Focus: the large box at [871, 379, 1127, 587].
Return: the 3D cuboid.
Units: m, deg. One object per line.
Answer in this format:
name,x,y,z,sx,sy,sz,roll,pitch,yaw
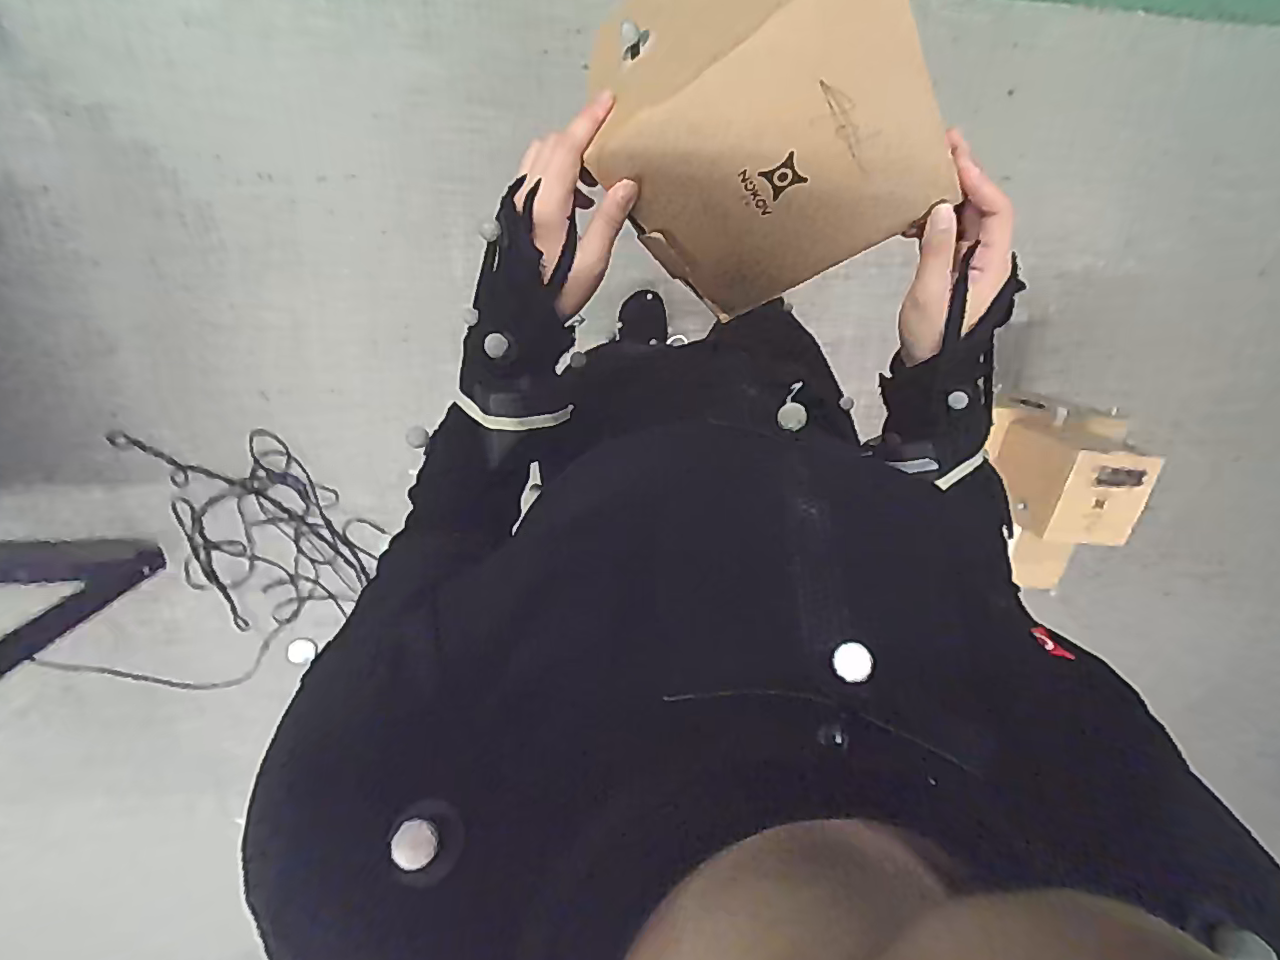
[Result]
large box,0.802,-0.005,1.277,0.320,0.320,0.408,4,112,-5
